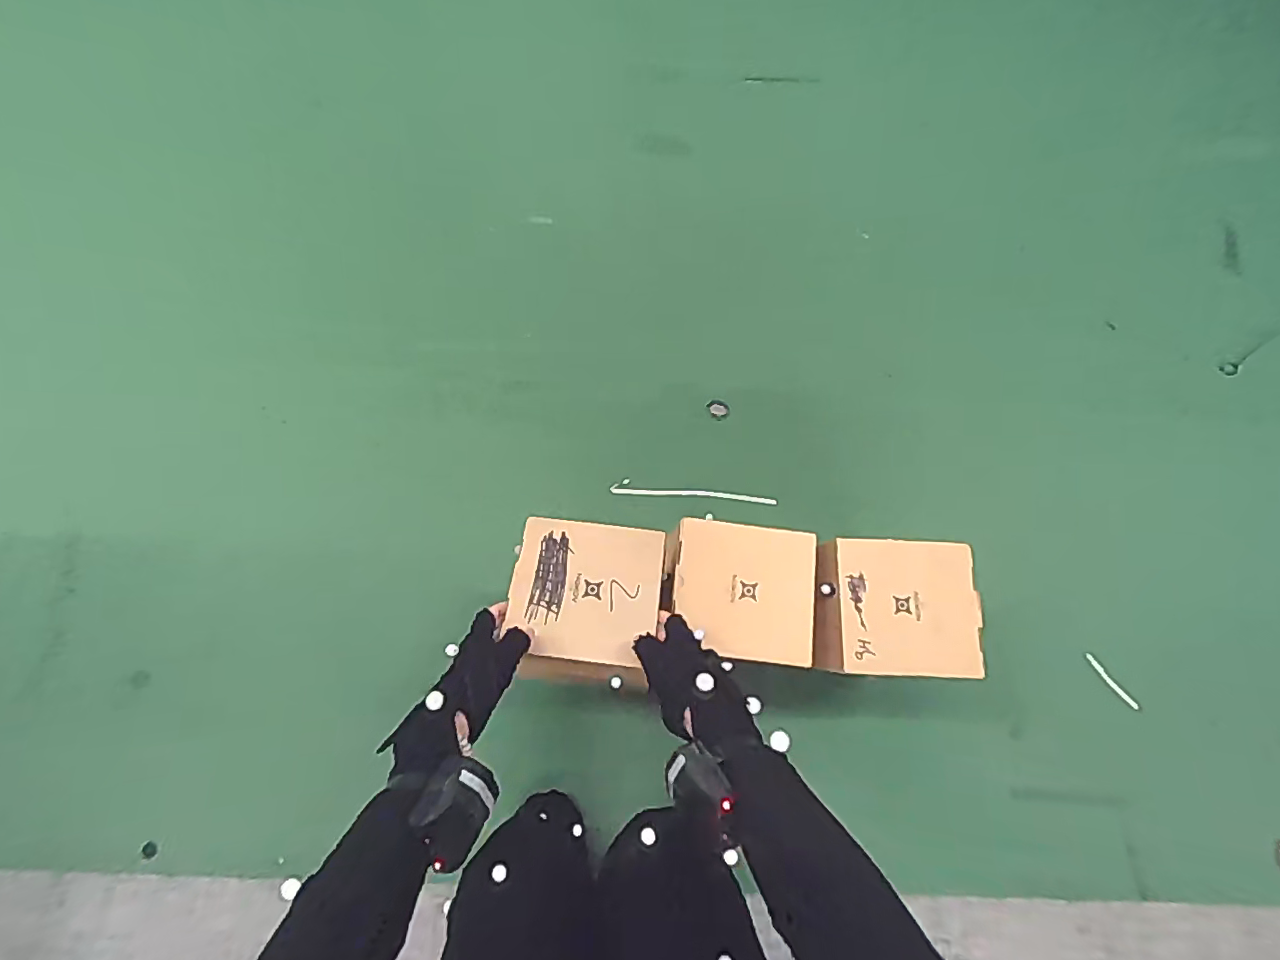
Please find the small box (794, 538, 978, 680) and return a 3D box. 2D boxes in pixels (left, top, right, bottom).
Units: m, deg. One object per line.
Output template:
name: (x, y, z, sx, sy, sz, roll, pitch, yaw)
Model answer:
small box: (0.327, 0.179, 0.751, 0.179, 0.176, 0.168, 3, 75, -1)
